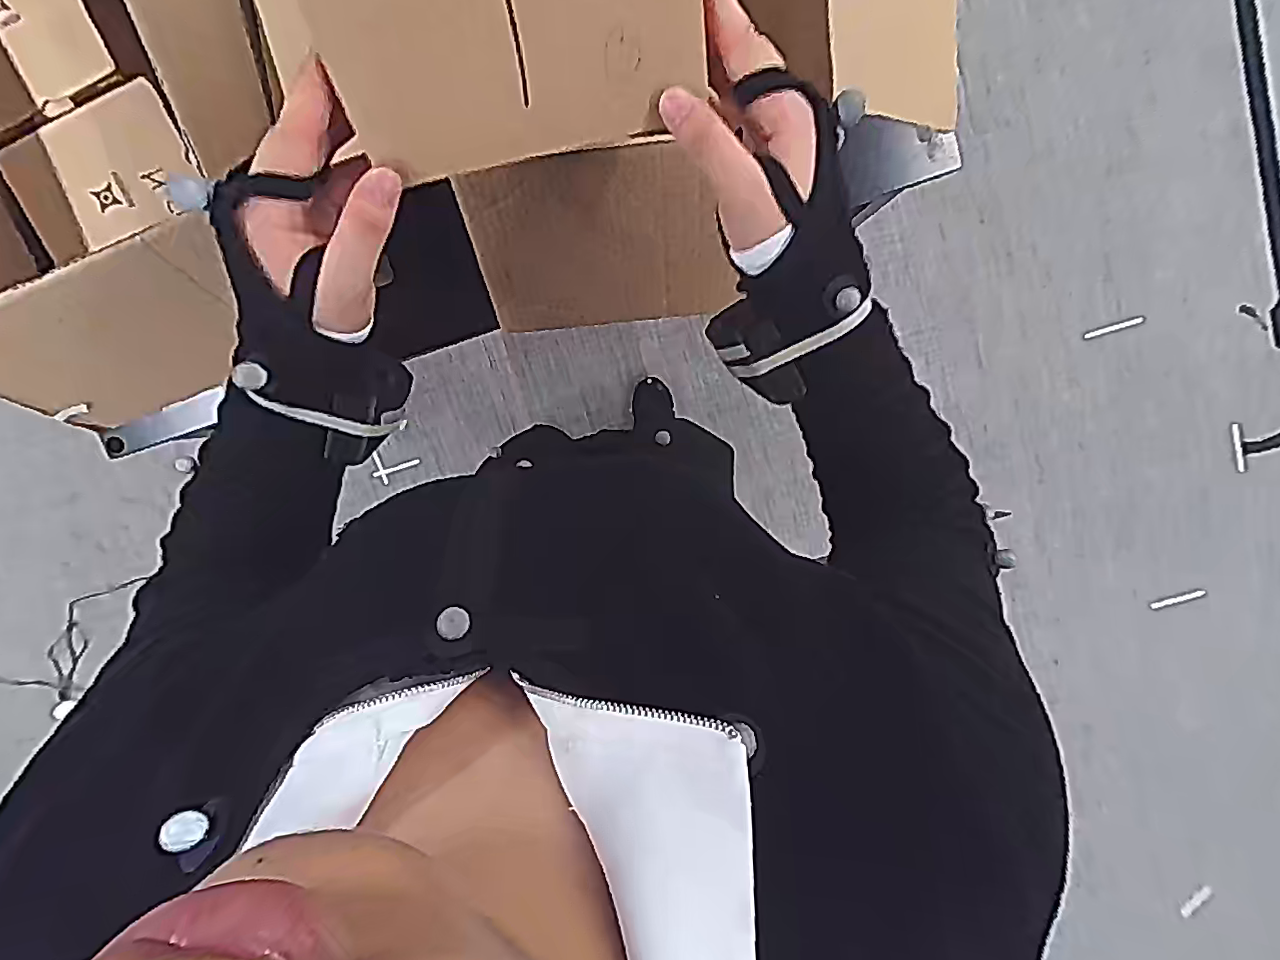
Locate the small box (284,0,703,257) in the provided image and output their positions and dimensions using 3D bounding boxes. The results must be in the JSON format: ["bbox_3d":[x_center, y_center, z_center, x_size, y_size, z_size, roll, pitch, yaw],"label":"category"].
[{"bbox_3d":[-0.070,-0.246,0.284,0.168,0.176,0.179,-12,131,0],"label":"small box"}]
